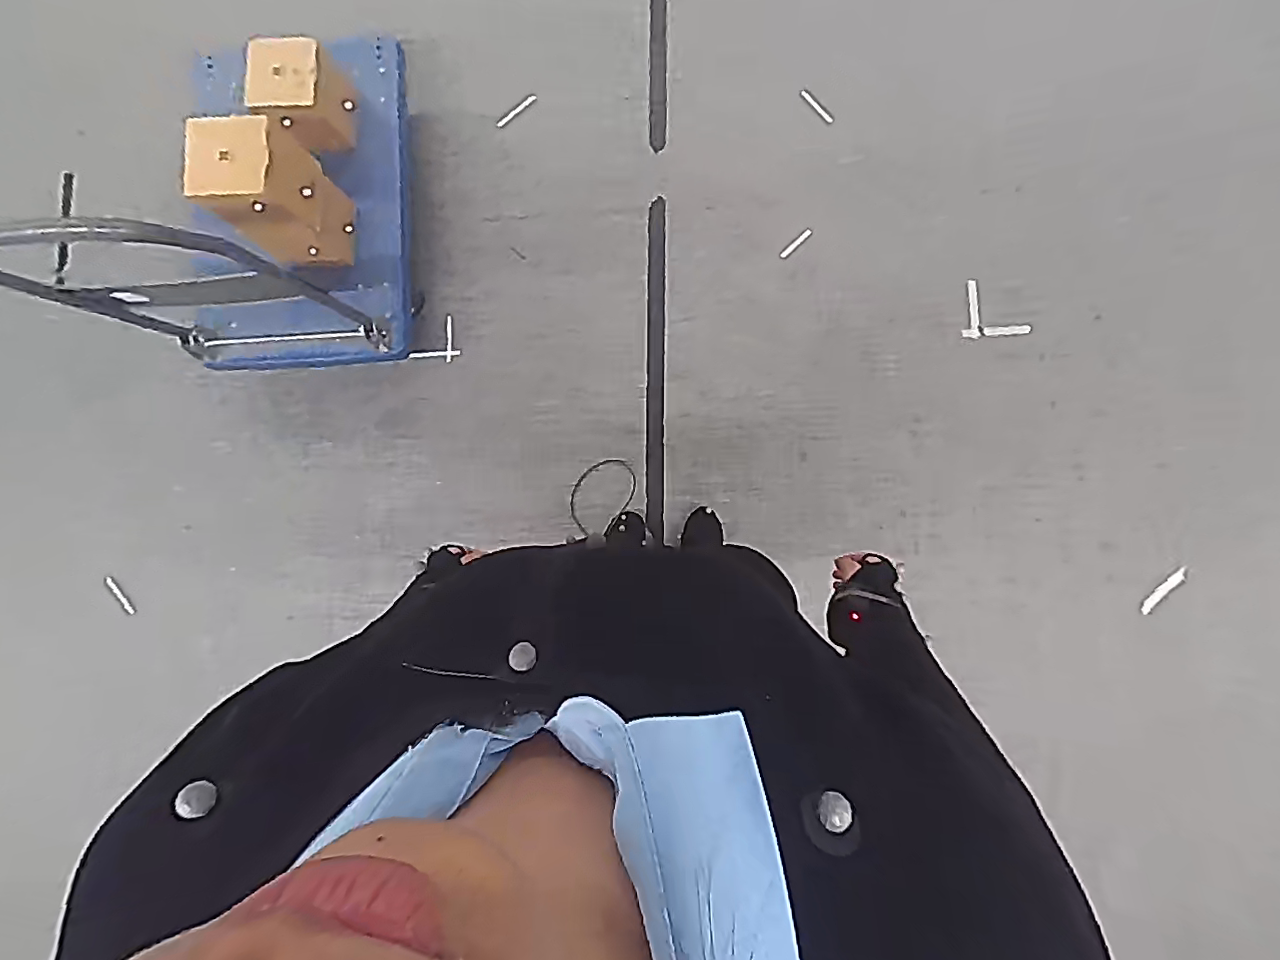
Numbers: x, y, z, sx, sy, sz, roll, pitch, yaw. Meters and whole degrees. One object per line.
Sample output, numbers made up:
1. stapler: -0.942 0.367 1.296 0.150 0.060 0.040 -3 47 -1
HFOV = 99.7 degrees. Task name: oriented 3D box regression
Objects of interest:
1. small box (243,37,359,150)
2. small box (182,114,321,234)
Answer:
1. small box: -0.834 -0.949 1.340 0.179 0.176 0.168 2 88 4
2. small box: -0.828 -0.649 1.164 0.179 0.176 0.168 0 87 3
